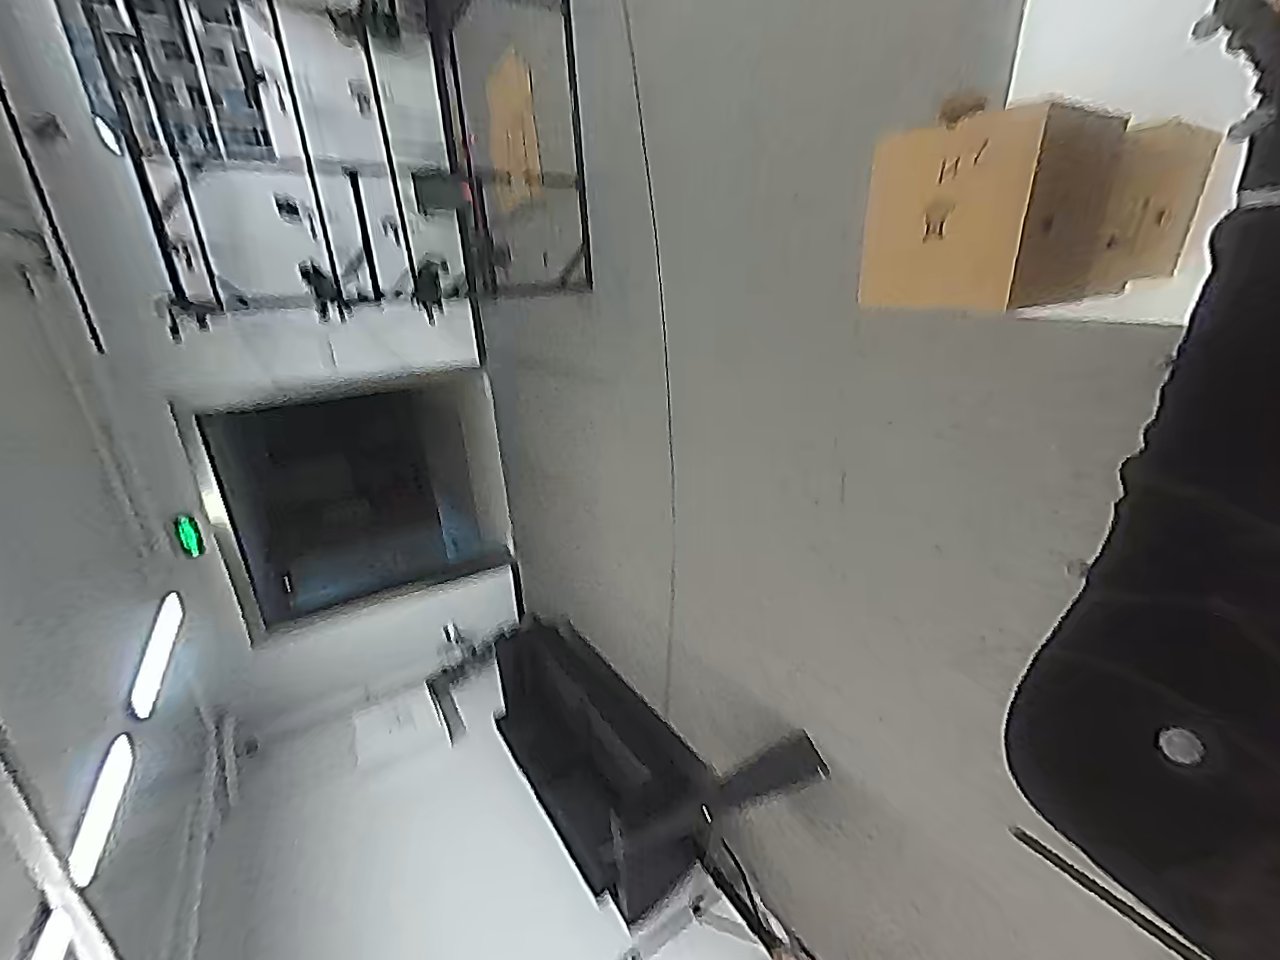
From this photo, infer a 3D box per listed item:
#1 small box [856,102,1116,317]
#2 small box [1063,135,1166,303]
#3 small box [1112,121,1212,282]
[{"bbox_3d":[0.362,-0.276,0.579,0.168,0.176,0.179,28,126,52],"label":"small box"},{"bbox_3d":[0.493,-0.318,0.671,0.179,0.176,0.168,32,130,51],"label":"small box"},{"bbox_3d":[0.629,-0.370,0.745,0.168,0.176,0.179,30,127,51],"label":"small box"}]
